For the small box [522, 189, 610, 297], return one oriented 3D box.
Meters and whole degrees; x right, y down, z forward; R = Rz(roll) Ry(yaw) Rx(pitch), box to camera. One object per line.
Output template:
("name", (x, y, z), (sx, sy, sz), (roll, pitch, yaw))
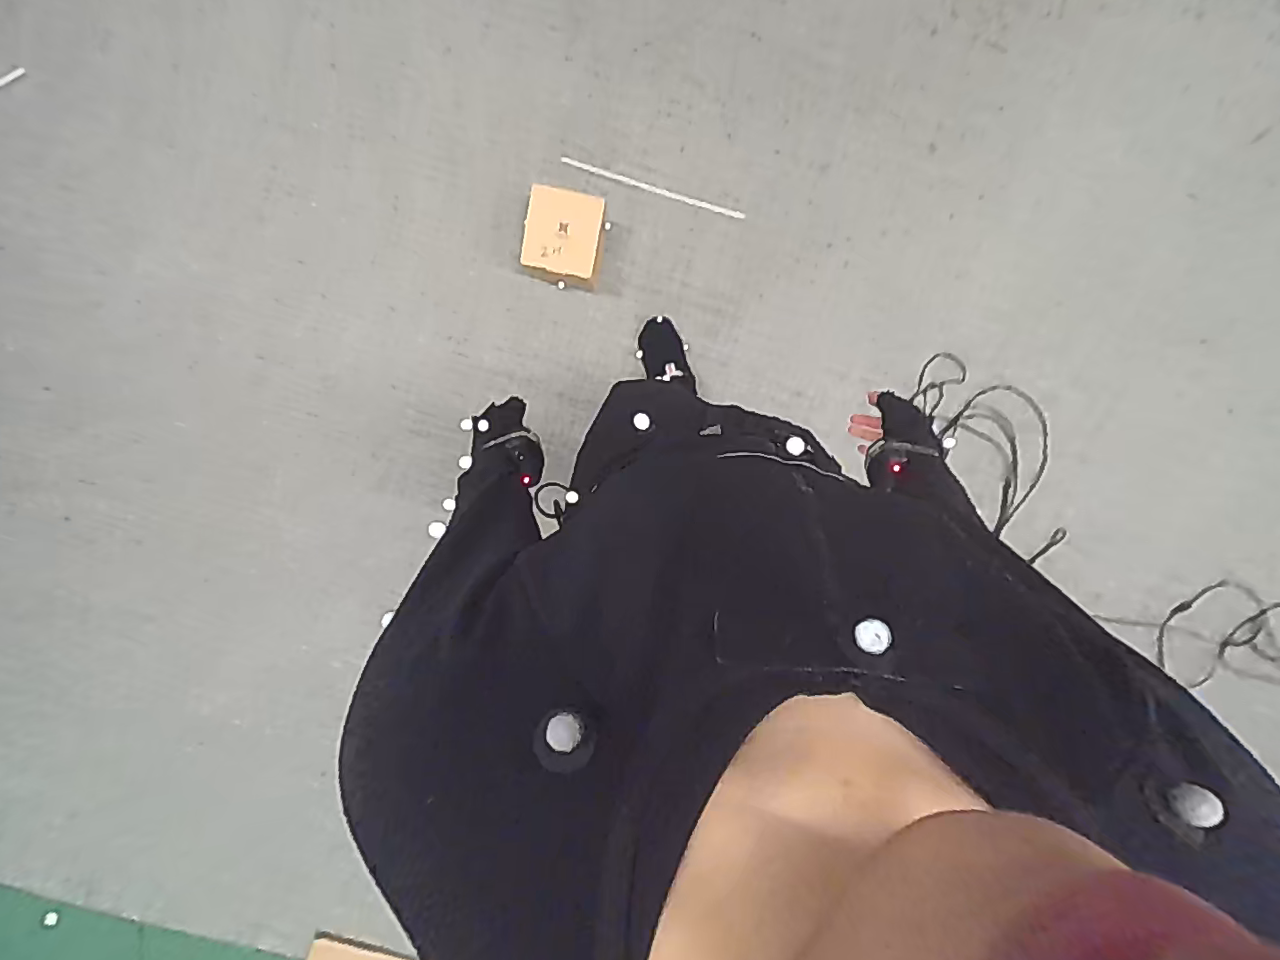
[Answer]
("small box", (-0.168, -0.552, 1.282), (0.168, 0.176, 0.179), (12, 99, -2))
